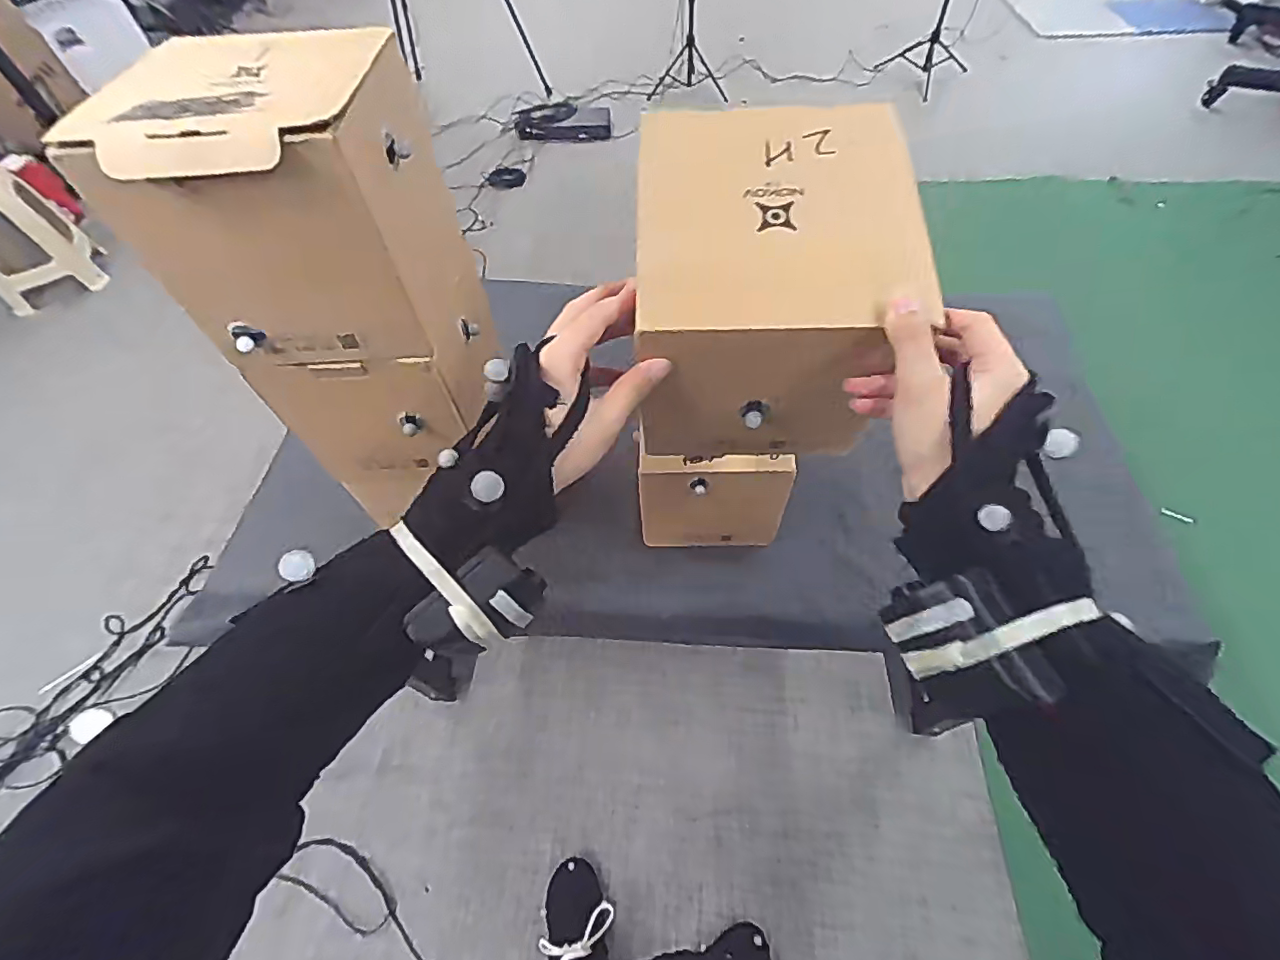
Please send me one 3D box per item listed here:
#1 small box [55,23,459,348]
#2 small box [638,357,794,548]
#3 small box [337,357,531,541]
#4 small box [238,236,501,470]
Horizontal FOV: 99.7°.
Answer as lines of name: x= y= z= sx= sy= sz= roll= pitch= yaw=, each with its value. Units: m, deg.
small box: x=-0.251 y=-0.216 z=0.417 sx=0.168 sy=0.176 sz=0.179 roll=-3 pitch=55 yaw=-1
small box: x=0.083 y=-0.032 z=0.675 sx=0.168 sy=0.176 sz=0.179 roll=0 pitch=55 yaw=2
small box: x=-0.241 y=-0.032 z=0.687 sx=0.168 sy=0.176 sz=0.179 roll=-2 pitch=55 yaw=1
small box: x=-0.247 y=-0.121 z=0.551 sx=0.168 sy=0.176 sz=0.179 roll=-2 pitch=54 yaw=-1
